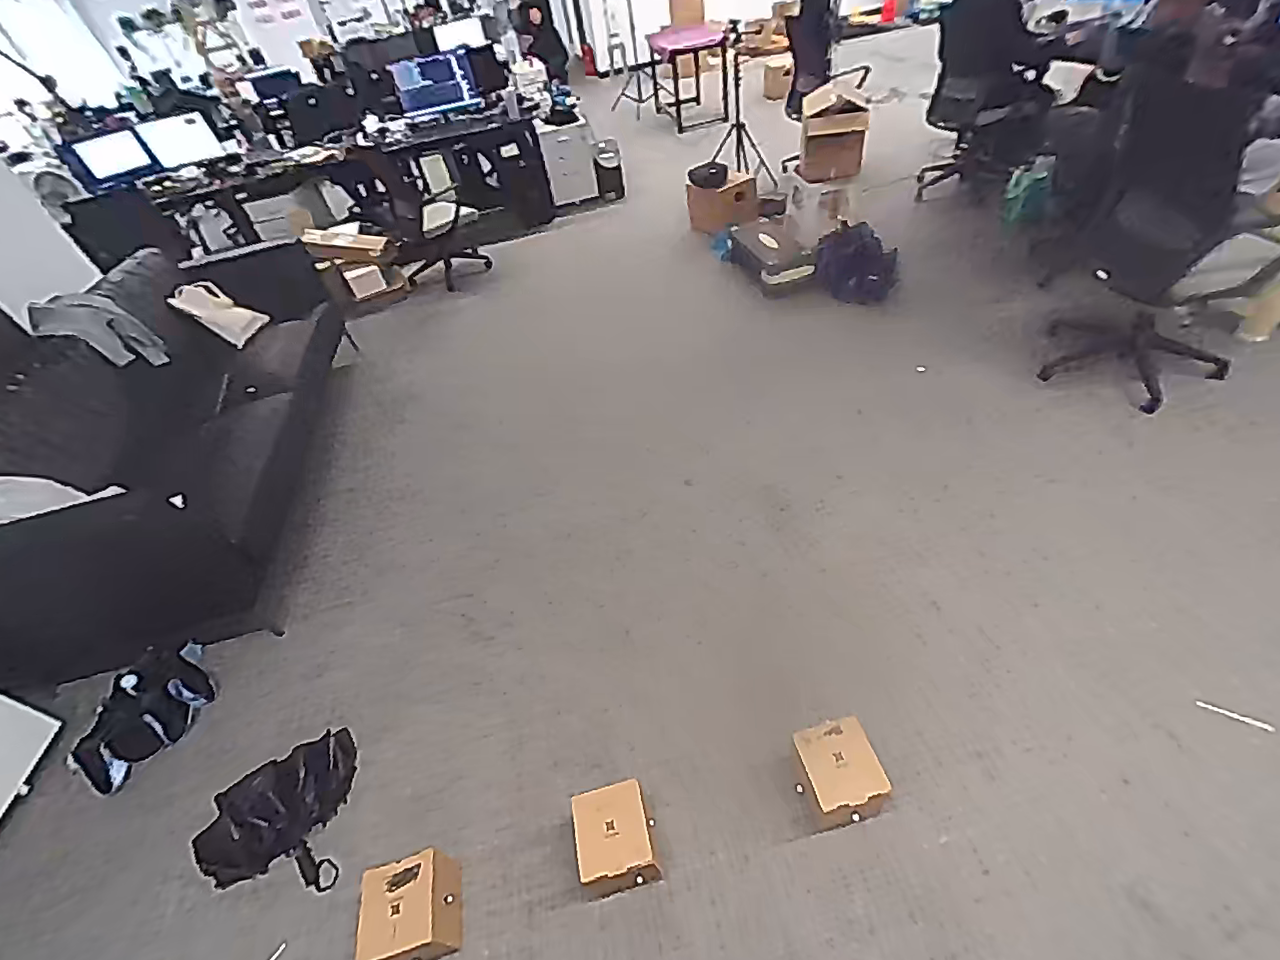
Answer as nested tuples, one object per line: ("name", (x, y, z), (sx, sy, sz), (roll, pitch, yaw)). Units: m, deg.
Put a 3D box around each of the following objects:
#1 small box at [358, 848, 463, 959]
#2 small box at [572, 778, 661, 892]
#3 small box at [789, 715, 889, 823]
("small box", (-0.518, 0.989, 1.242), (0.168, 0.176, 0.179), (-18, 45, -4))
("small box", (-0.054, 0.850, 1.286), (0.168, 0.176, 0.179), (-15, 42, -4))
("small box", (0.472, 0.706, 1.310), (0.168, 0.176, 0.179), (-15, 44, -2))
